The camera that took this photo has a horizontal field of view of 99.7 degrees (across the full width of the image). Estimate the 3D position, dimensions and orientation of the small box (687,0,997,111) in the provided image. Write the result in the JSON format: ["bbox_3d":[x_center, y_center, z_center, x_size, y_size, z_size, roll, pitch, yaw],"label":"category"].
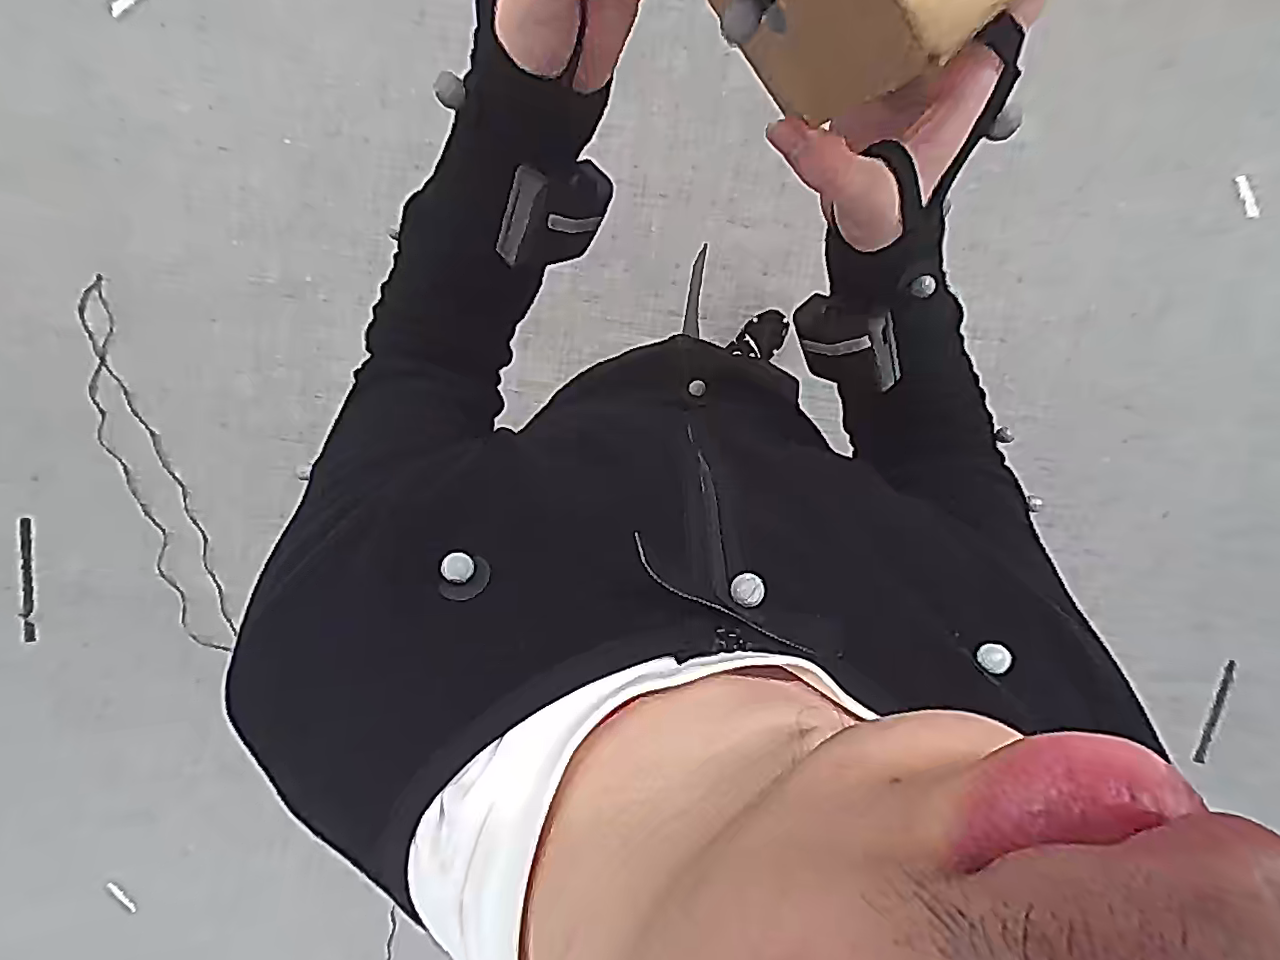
[{"bbox_3d":[0.068,-0.235,0.142,0.168,0.176,0.179,-38,108,22],"label":"small box"}]
